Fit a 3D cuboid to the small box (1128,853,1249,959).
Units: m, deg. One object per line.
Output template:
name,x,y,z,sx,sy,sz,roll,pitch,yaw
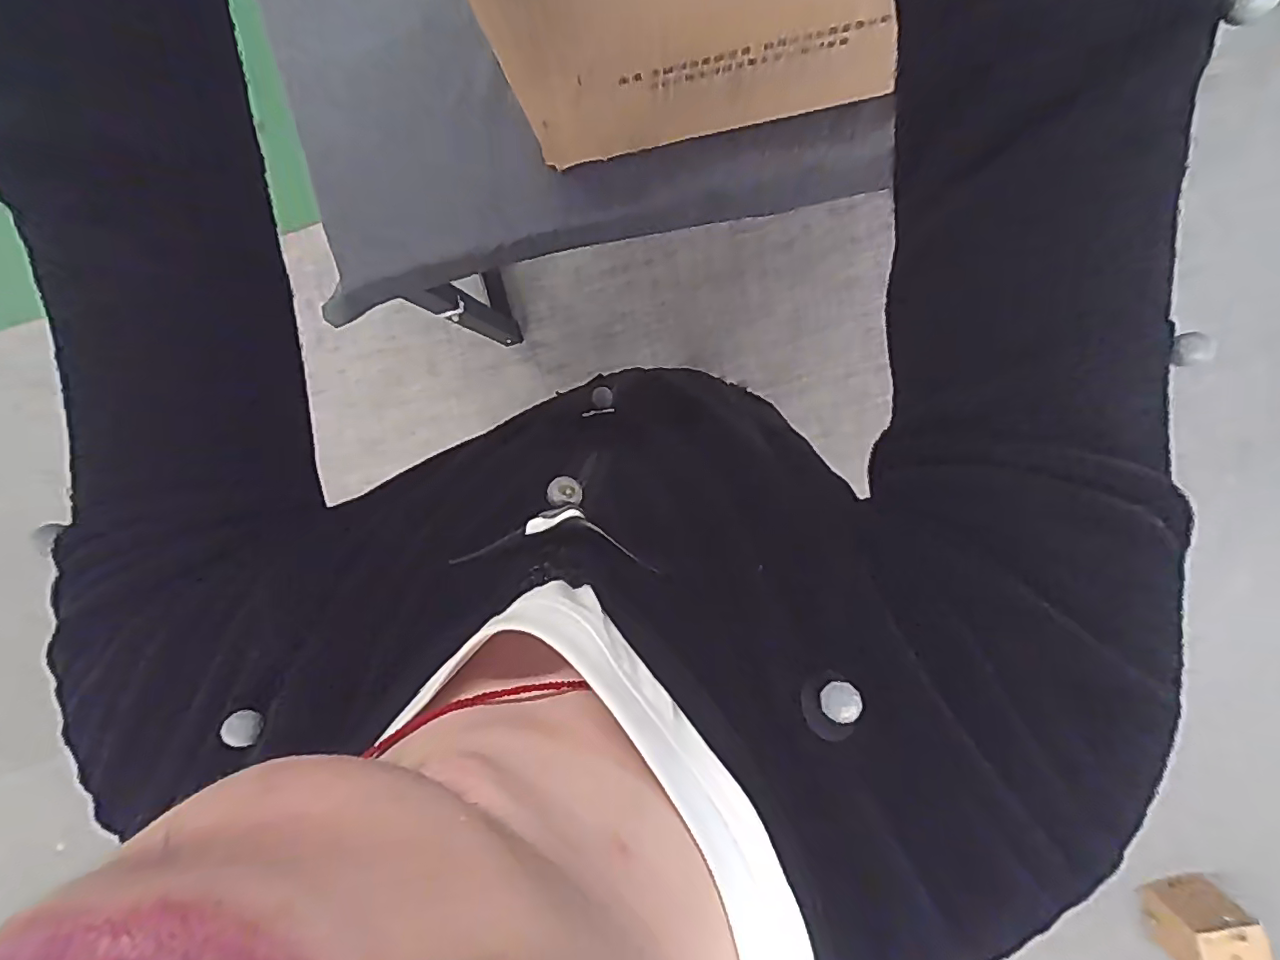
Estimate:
small box,1.529,1.200,1.517,0.168,0.176,0.179,-13,95,4
